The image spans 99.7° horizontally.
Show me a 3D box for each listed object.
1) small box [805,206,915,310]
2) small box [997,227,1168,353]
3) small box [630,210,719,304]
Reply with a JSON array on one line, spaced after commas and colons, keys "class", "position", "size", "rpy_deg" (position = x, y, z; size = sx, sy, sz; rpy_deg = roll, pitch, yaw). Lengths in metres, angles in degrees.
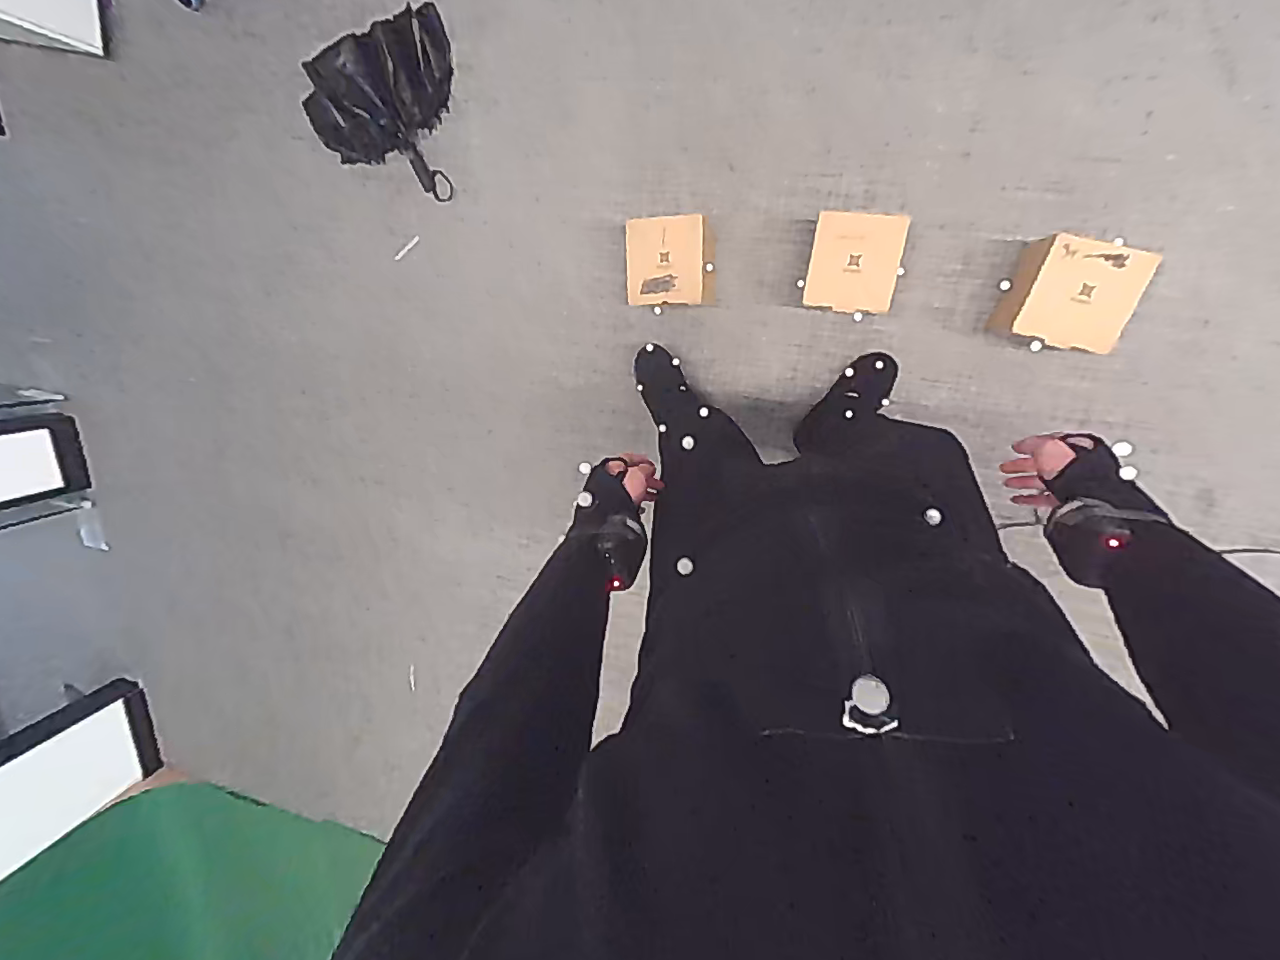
[{"class": "small box", "position": [0.439, -0.446, 1.103], "size": [0.168, 0.176, 0.179], "rpy_deg": [10, 108, 13]}, {"class": "small box", "position": [0.807, -0.354, 1.015], "size": [0.168, 0.176, 0.179], "rpy_deg": [20, 113, 11]}, {"class": "small box", "position": [0.082, -0.486, 1.199], "size": [0.168, 0.176, 0.179], "rpy_deg": [3, 107, 16]}]
